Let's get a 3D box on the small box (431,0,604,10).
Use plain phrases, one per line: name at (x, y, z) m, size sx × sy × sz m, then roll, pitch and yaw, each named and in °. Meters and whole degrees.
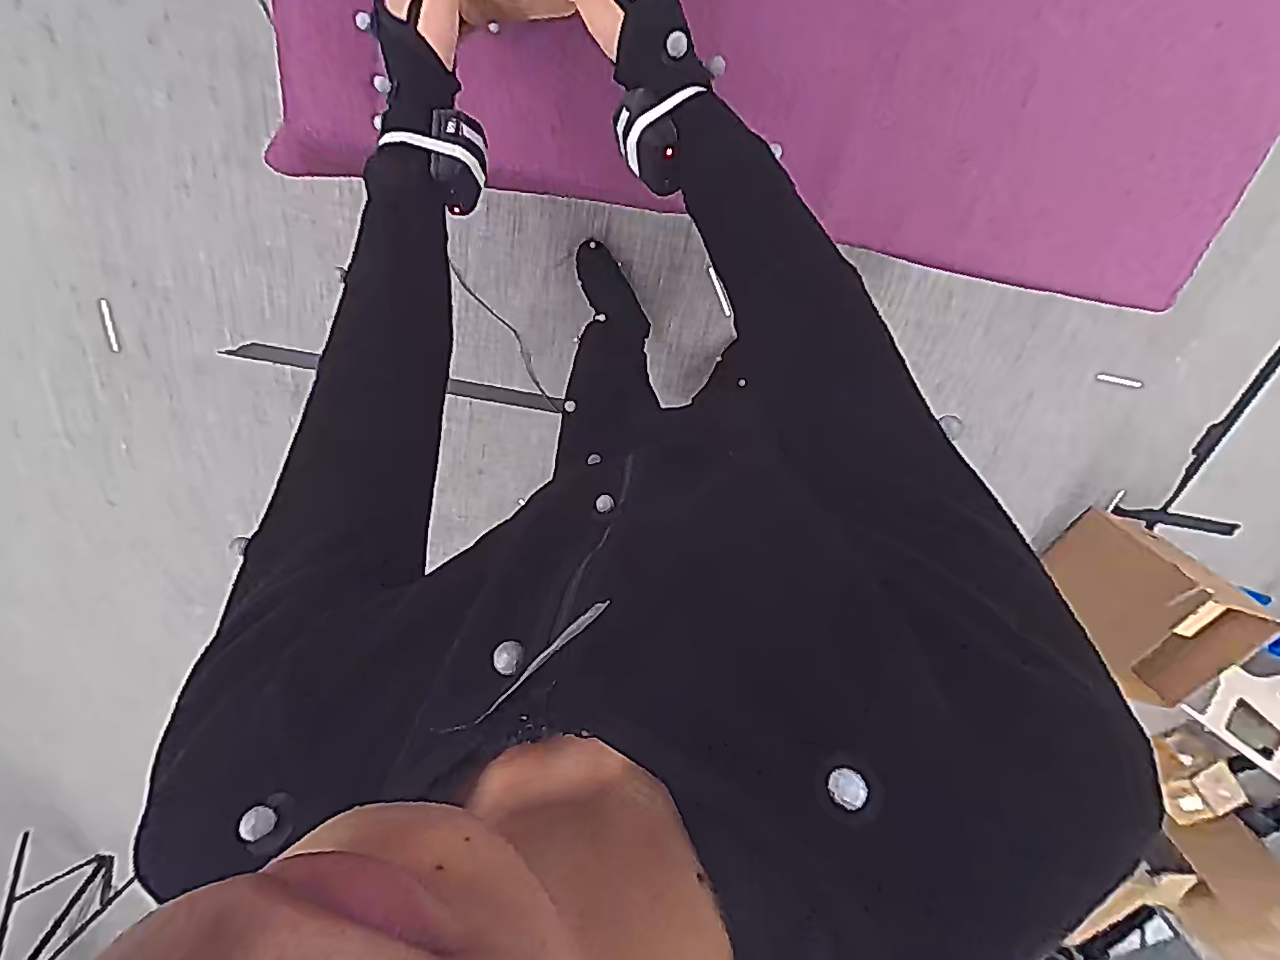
small box at (-0.112, -0.532, 0.470) m, size 0.168 × 0.176 × 0.179 m, roll -3°, pitch 126°, yaw 2°
